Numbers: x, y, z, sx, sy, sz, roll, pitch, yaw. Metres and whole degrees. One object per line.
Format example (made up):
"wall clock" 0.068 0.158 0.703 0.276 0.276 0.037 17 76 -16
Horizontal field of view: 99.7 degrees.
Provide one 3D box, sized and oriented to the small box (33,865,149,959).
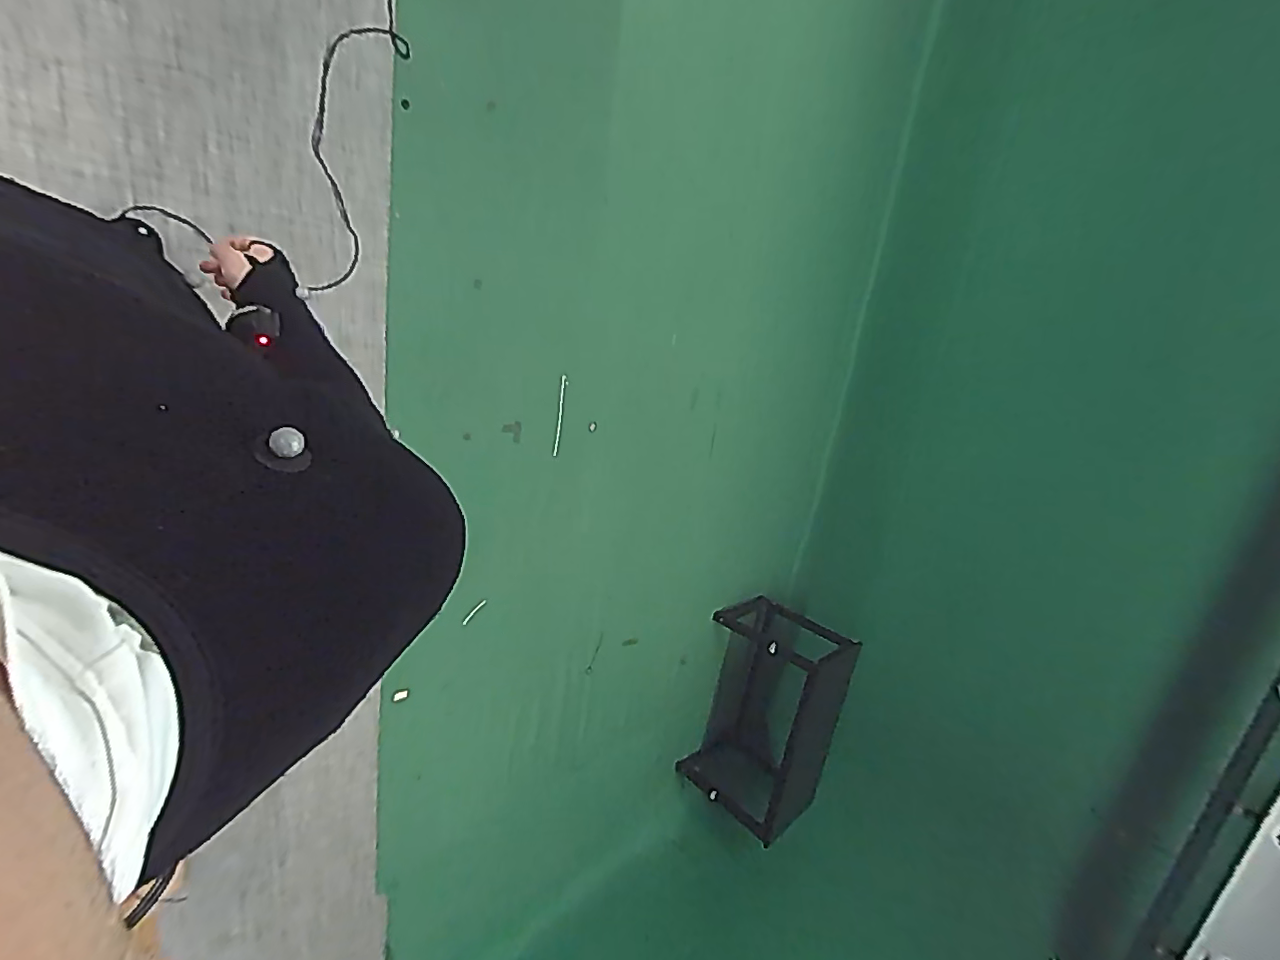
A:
"small box" -1.272 1.053 1.251 0.179 0.176 0.168 3 105 -49
